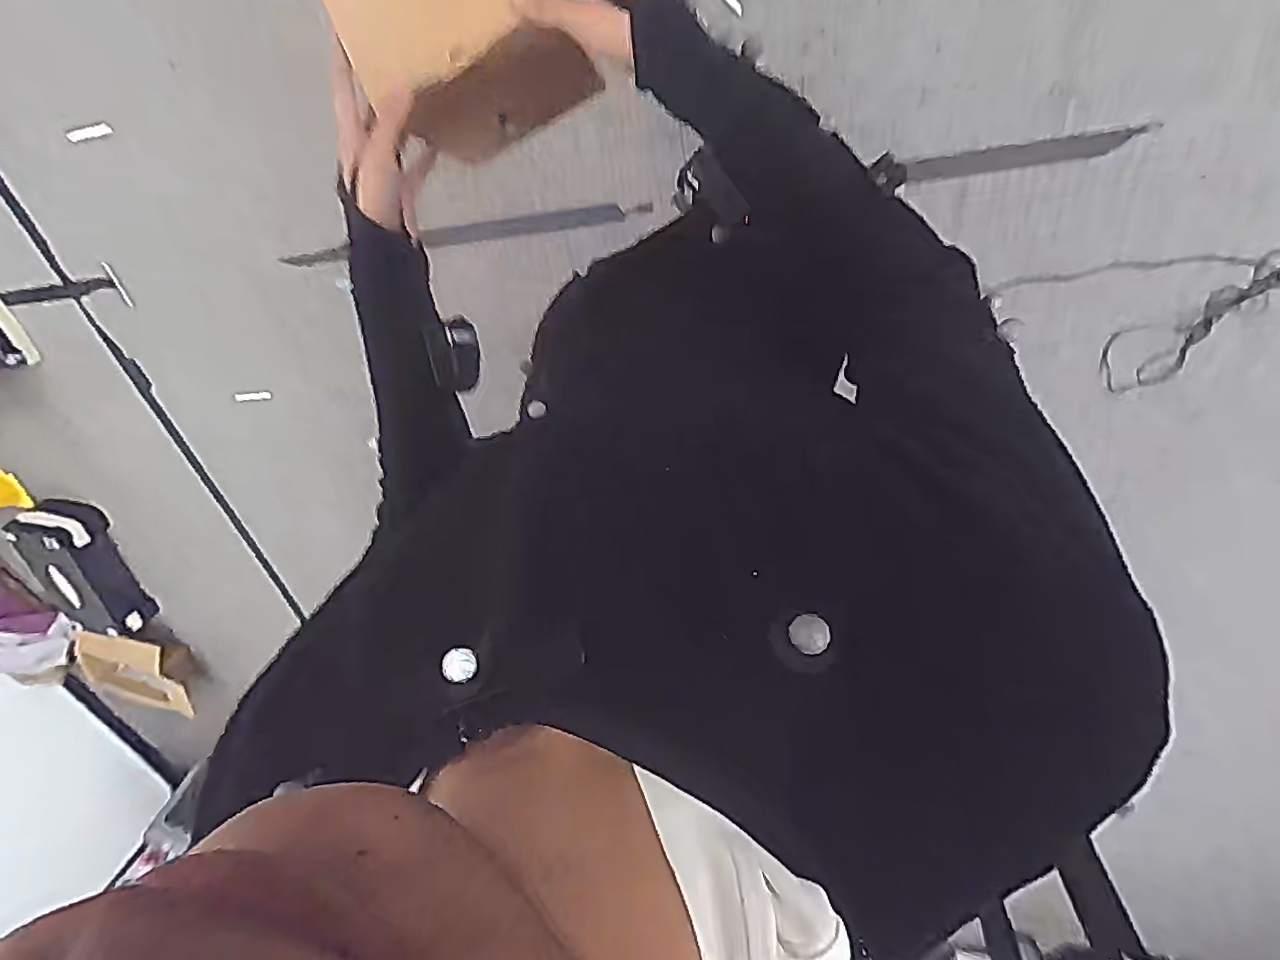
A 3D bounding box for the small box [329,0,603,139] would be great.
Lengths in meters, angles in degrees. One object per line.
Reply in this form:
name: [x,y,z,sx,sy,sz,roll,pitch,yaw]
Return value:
small box: [-0.148,-0.423,0.441,0.168,0.176,0.179,-19,105,16]
